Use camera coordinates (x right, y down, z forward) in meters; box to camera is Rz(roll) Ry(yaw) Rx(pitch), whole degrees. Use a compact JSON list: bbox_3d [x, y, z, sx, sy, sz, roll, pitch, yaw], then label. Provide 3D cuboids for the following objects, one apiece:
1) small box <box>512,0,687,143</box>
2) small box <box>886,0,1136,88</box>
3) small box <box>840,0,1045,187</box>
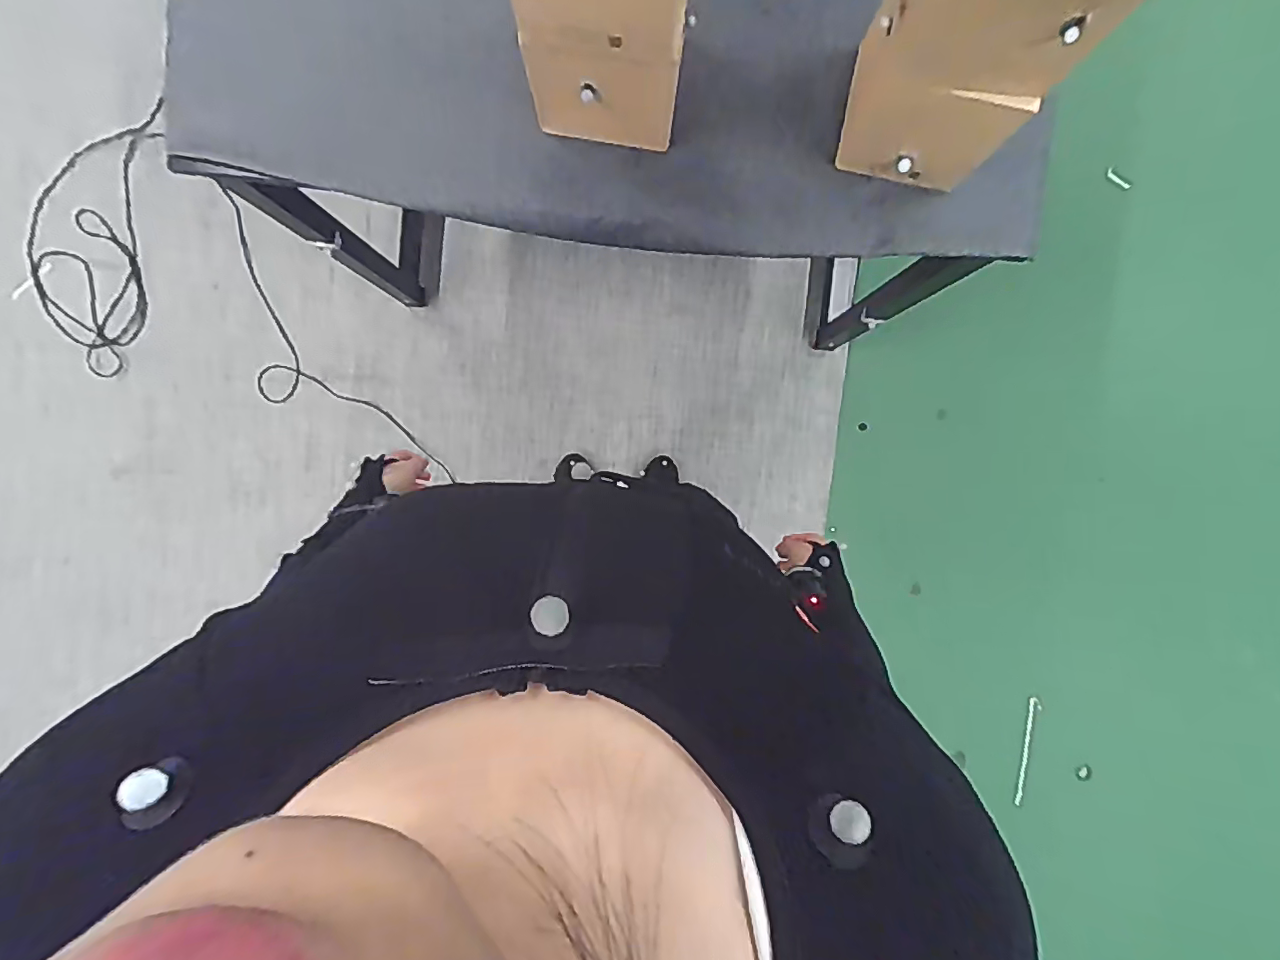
[{"bbox_3d":[-0.039,-0.543,0.654,0.179,0.176,0.168,8,91,0],"label":"small box"},{"bbox_3d":[0.354,-0.499,0.495,0.179,0.176,0.168,4,89,1],"label":"small box"},{"bbox_3d":[0.363,-0.498,0.657,0.168,0.176,0.179,12,90,0],"label":"small box"}]
